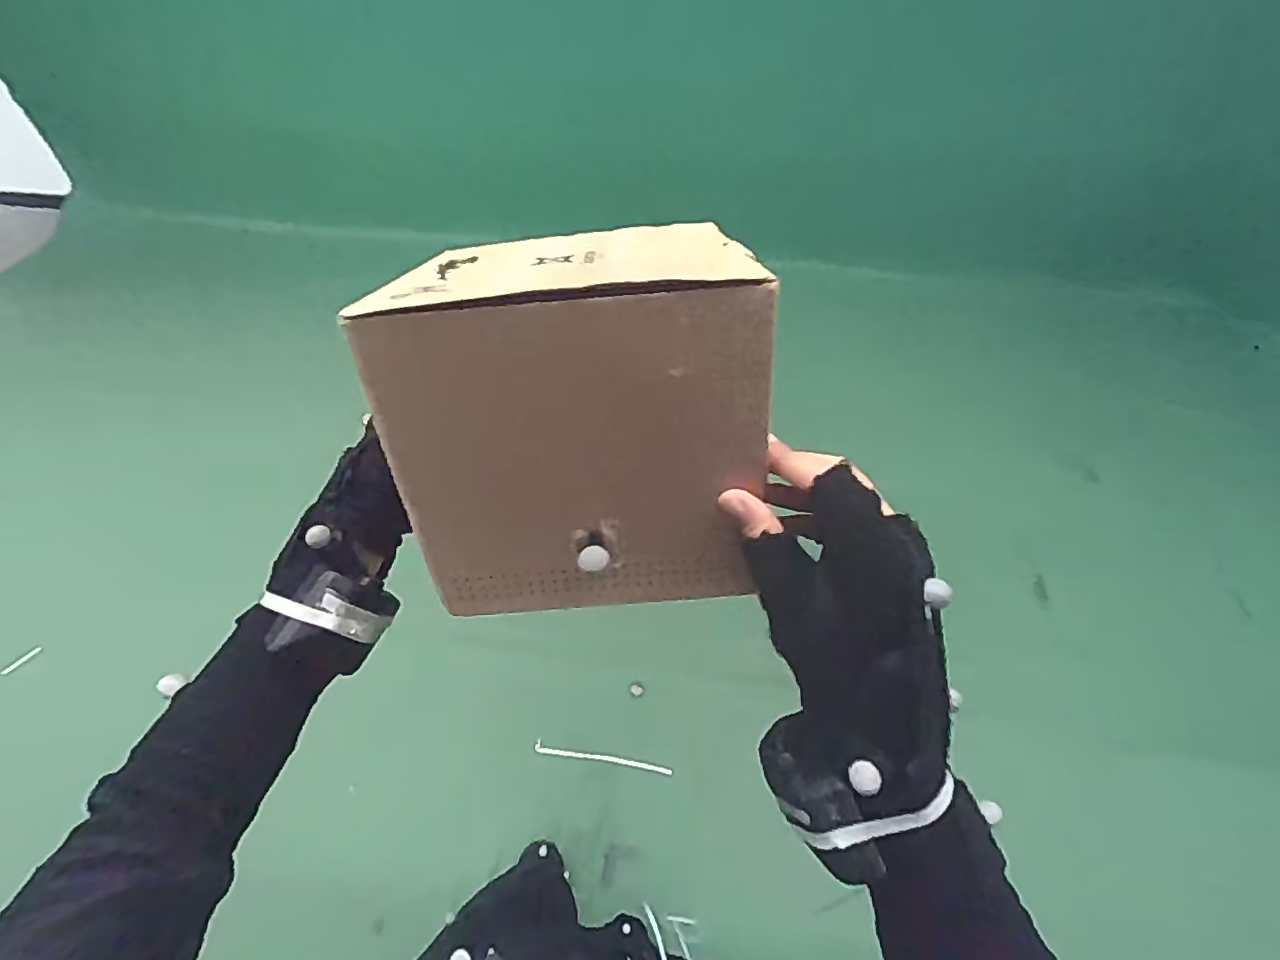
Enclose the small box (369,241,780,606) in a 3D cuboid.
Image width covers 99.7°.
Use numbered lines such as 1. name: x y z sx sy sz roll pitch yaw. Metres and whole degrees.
1. small box: -0.026 -0.041 0.334 0.179 0.176 0.168 -4 30 -1
